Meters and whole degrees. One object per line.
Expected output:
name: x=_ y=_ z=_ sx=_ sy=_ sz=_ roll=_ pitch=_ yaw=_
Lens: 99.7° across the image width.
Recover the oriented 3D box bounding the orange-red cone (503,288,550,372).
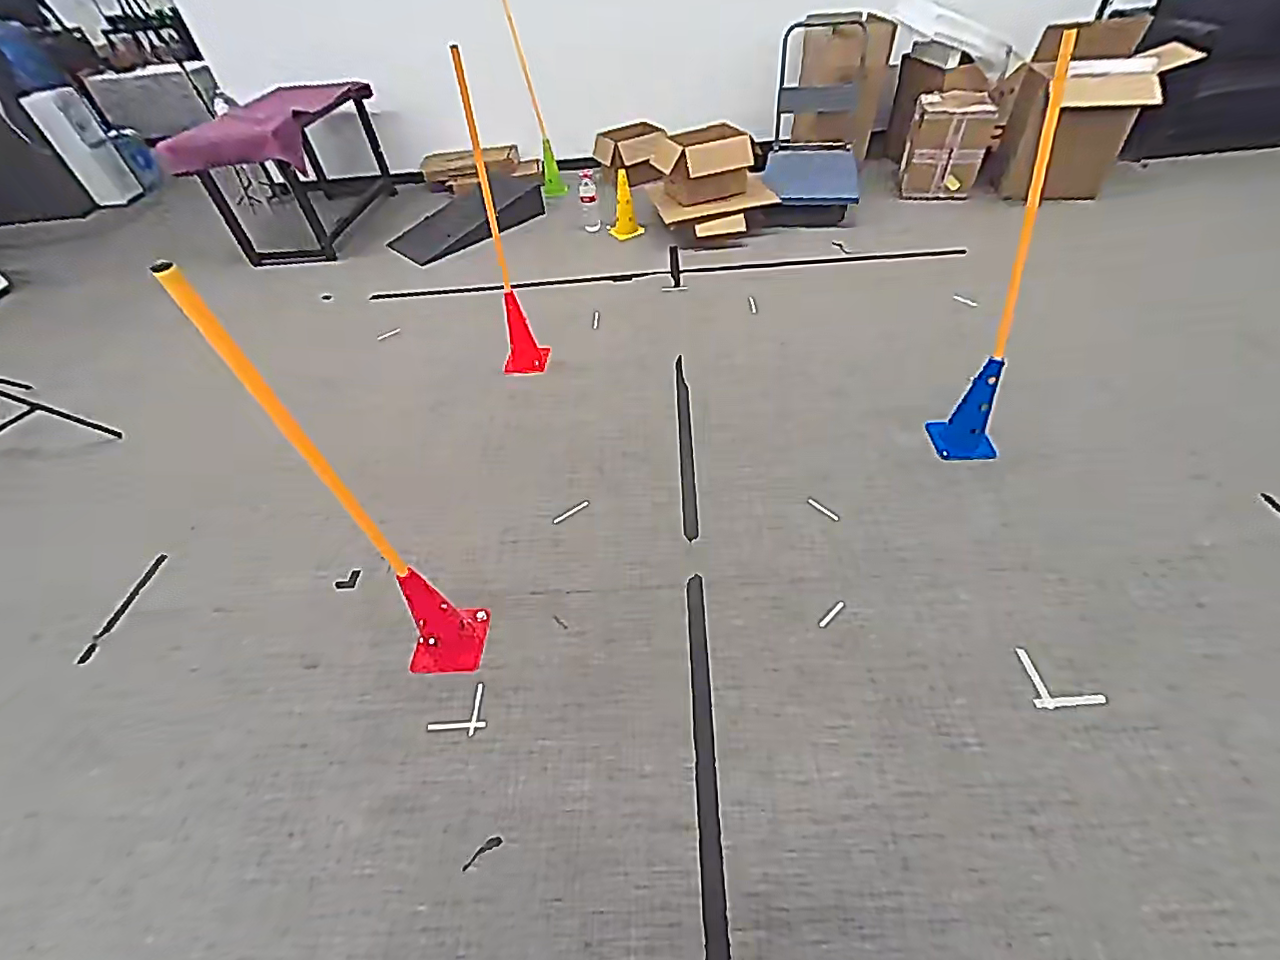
orange-red cone: x=-0.545 y=-0.685 z=2.414 sx=0.198 sy=0.360 sz=0.199 roll=0 pitch=46 yaw=6

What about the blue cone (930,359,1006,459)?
blue cone: x=1.162 y=-0.256 z=1.857 sx=0.193 sy=0.380 sz=0.192 roll=0 pitch=47 yaw=6
